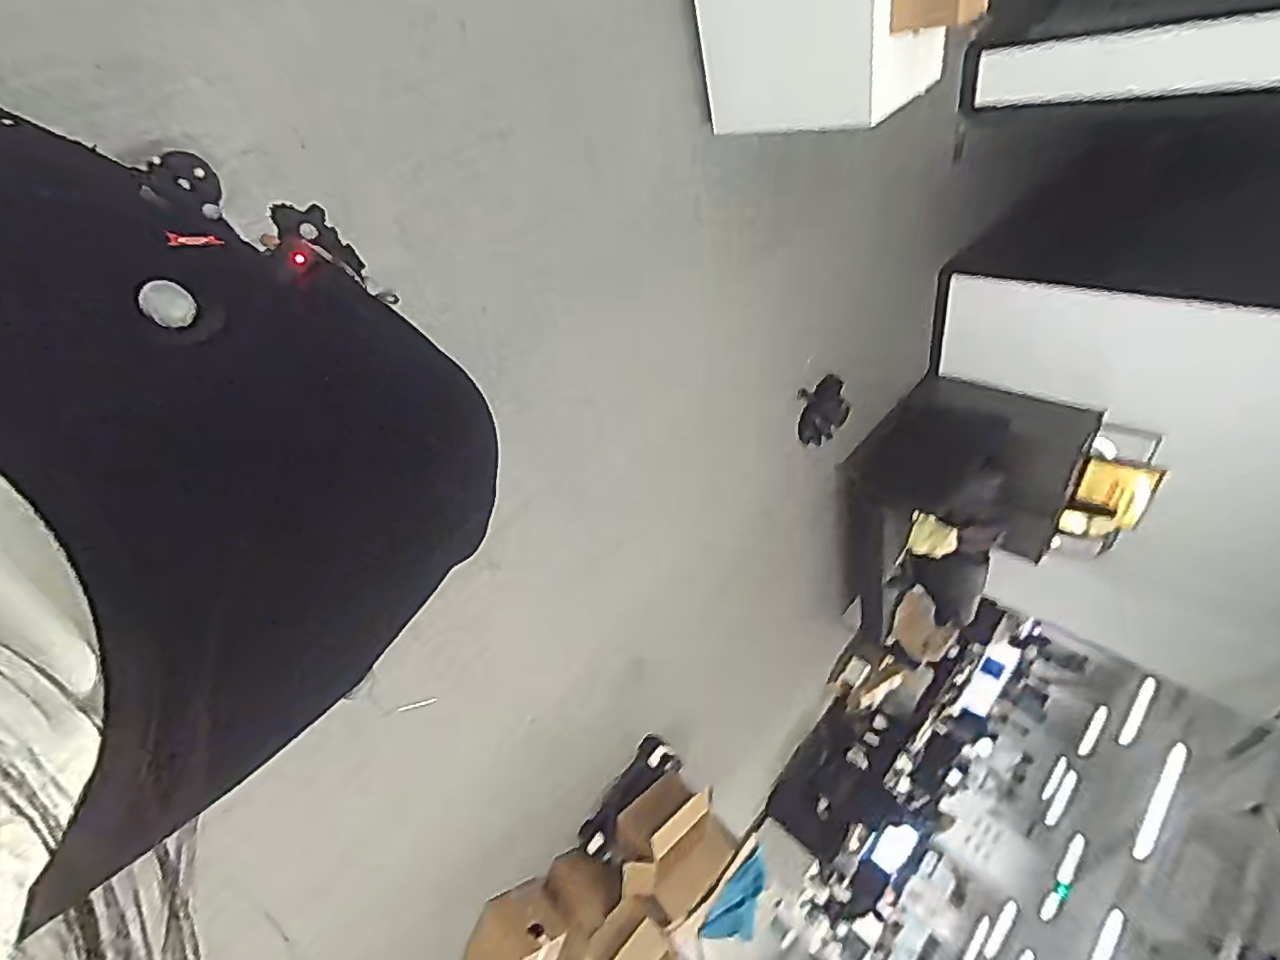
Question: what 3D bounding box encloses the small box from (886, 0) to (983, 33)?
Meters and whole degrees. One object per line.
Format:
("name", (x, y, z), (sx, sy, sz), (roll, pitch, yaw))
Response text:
("small box", (0.709, -1.211, 1.293), (0.168, 0.176, 0.179), (-41, 137, -22))
